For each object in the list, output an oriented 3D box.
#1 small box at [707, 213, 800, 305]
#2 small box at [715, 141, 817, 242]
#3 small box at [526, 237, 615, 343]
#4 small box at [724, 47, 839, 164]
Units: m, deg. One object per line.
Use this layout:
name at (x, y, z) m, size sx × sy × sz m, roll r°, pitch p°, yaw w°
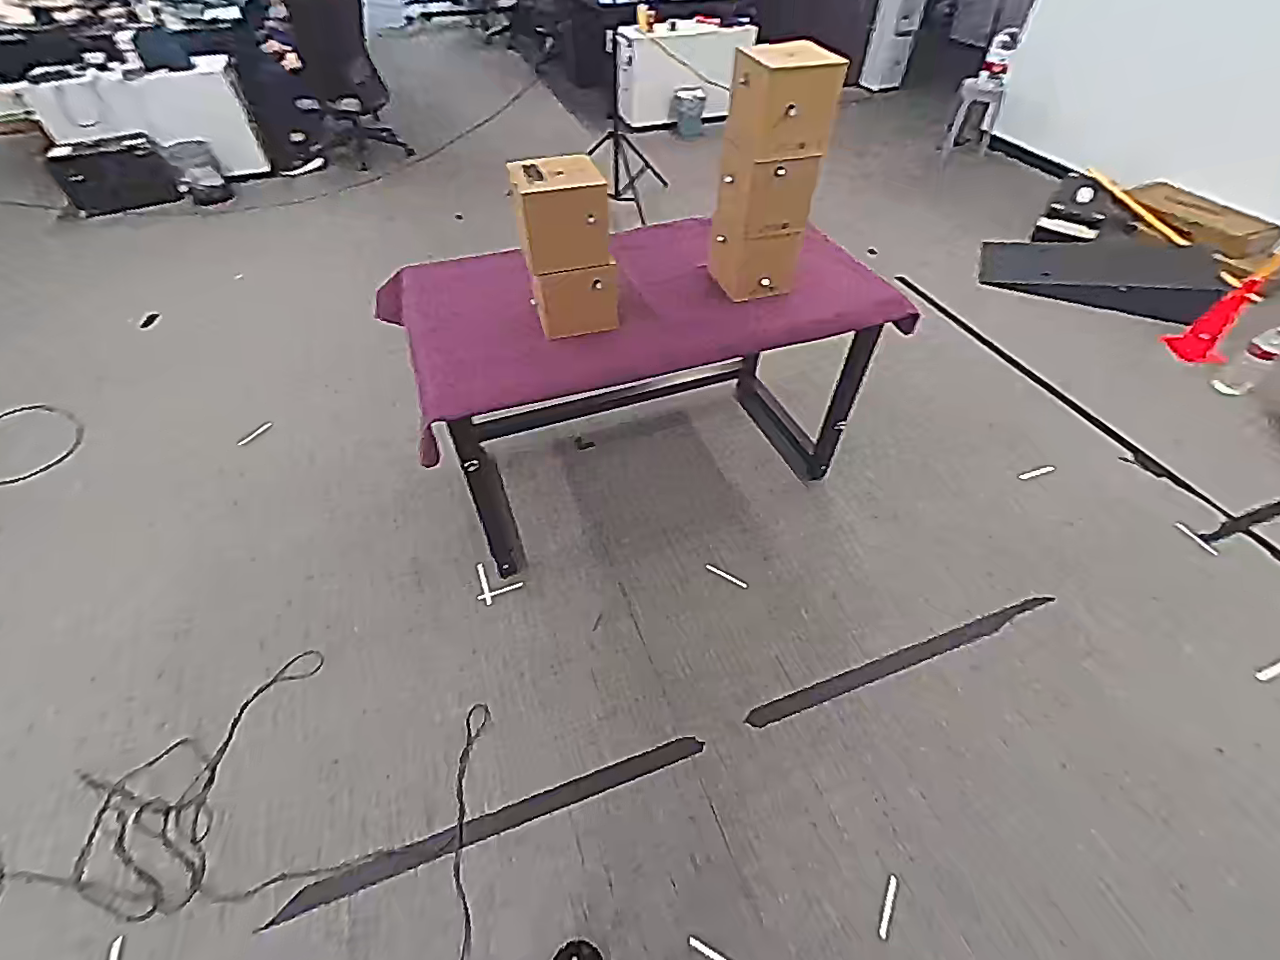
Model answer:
small box at (0.283, -0.579, 1.395) m, size 0.168 × 0.176 × 0.179 m, roll -14°, pitch 51°, yaw -12°
small box at (0.285, -0.683, 1.269) m, size 0.168 × 0.176 × 0.179 m, roll -13°, pitch 50°, yaw -10°
small box at (-0.162, -0.448, 1.280) m, size 0.179 × 0.176 × 0.168 m, roll -14°, pitch 50°, yaw -11°
small box at (0.288, -0.785, 1.141) m, size 0.168 × 0.176 × 0.179 m, roll -13°, pitch 50°, yaw -10°
